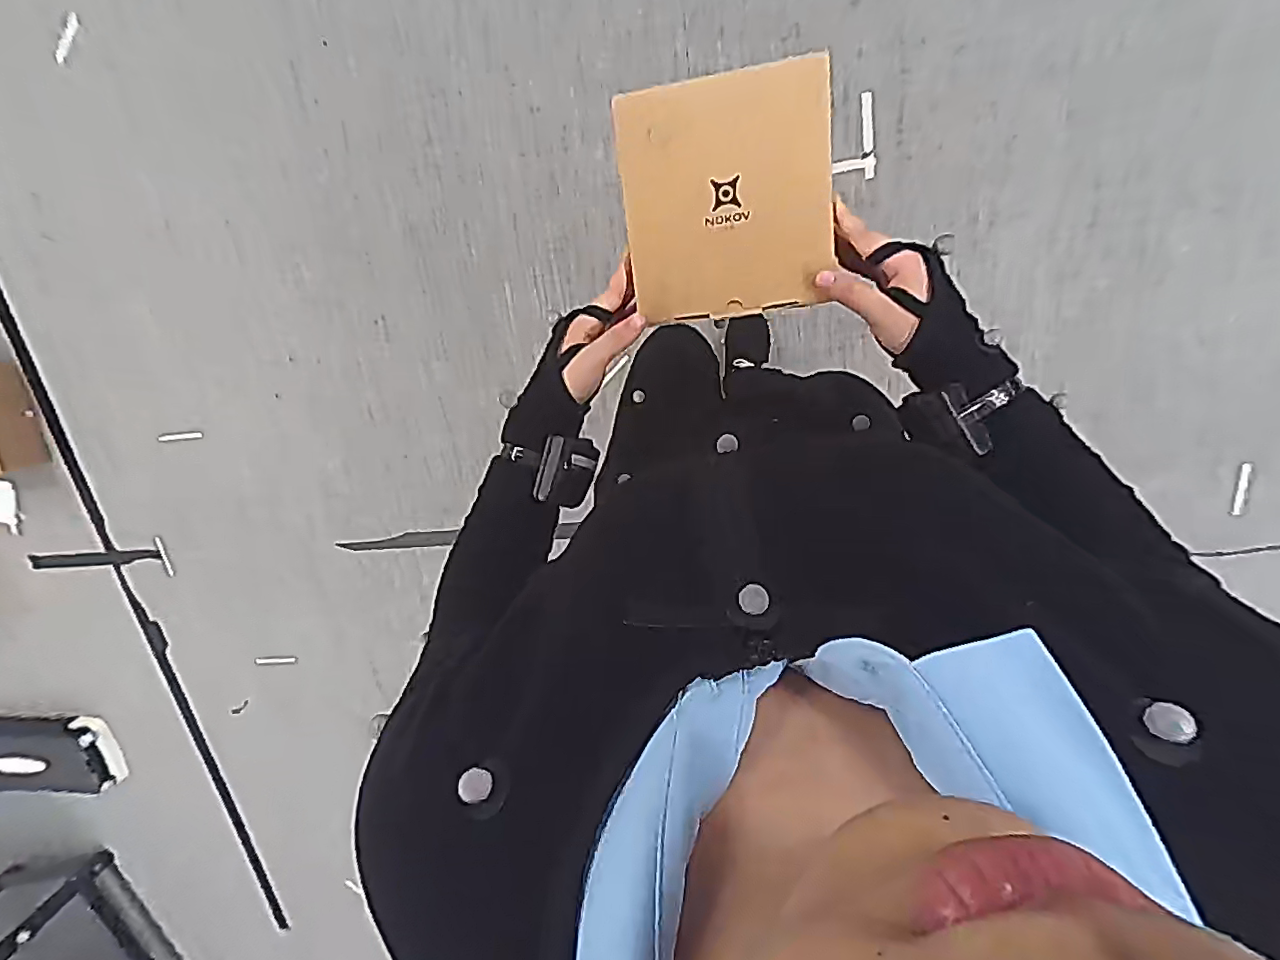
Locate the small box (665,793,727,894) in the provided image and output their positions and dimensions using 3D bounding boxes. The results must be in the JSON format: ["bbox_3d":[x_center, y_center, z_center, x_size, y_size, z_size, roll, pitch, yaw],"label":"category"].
[{"bbox_3d":[0.162,1.034,1.544,0.168,0.176,0.179,-3,107,6],"label":"small box"}]

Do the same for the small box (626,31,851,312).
[{"bbox_3d":[0.087,-0.255,0.496,0.168,0.176,0.179,-5,106,9],"label":"small box"}]
